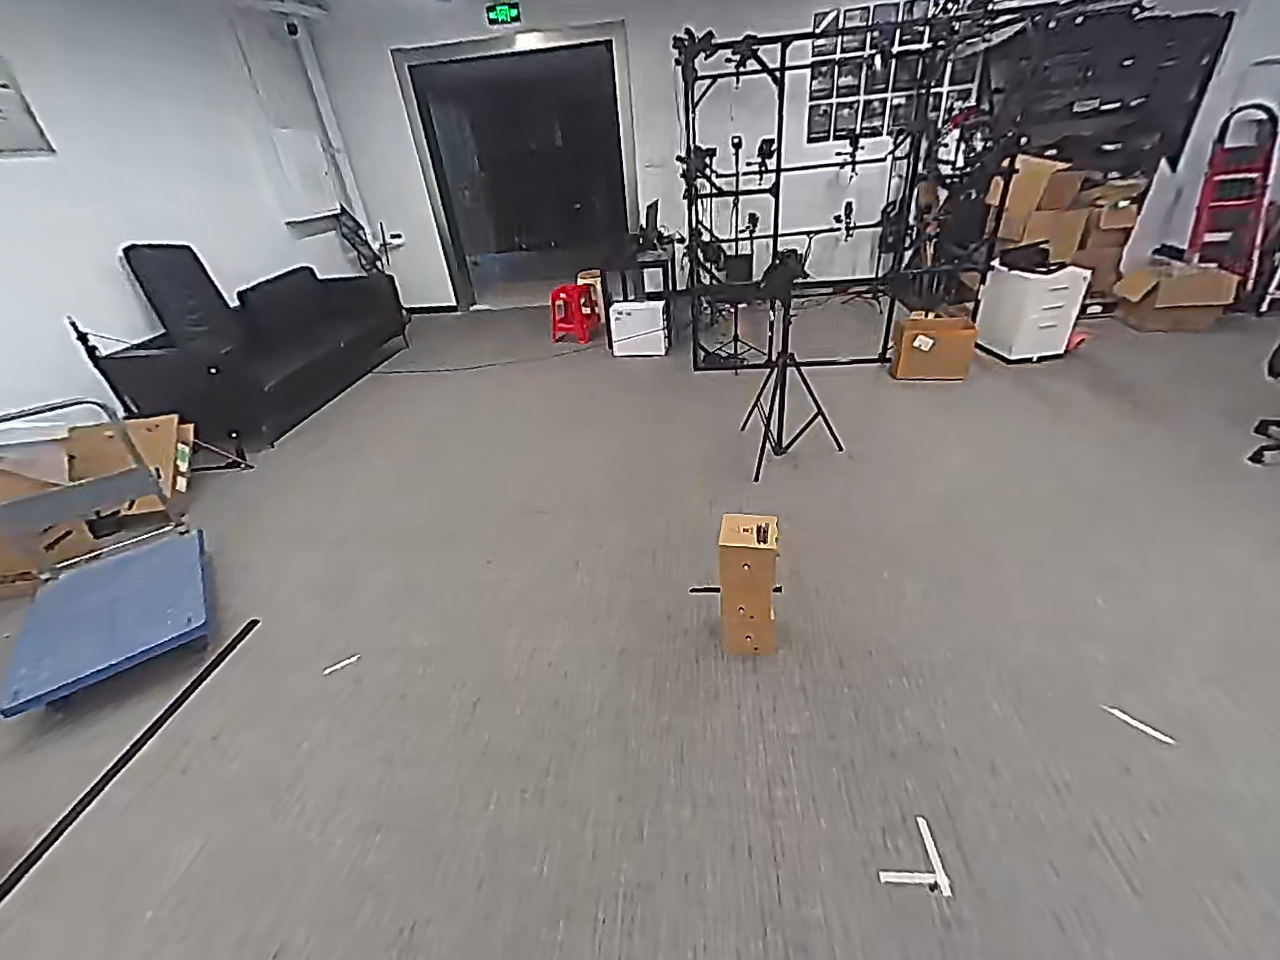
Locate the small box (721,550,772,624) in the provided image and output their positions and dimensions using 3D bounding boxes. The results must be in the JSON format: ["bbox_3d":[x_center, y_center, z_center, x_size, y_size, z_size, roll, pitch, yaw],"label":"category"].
[{"bbox_3d":[0.363,0.363,1.844,0.168,0.176,0.179,1,33,12],"label":"small box"}]

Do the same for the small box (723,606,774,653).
[{"bbox_3d":[0.384,0.499,1.933,0.168,0.176,0.179,-2,31,6],"label":"small box"}]
